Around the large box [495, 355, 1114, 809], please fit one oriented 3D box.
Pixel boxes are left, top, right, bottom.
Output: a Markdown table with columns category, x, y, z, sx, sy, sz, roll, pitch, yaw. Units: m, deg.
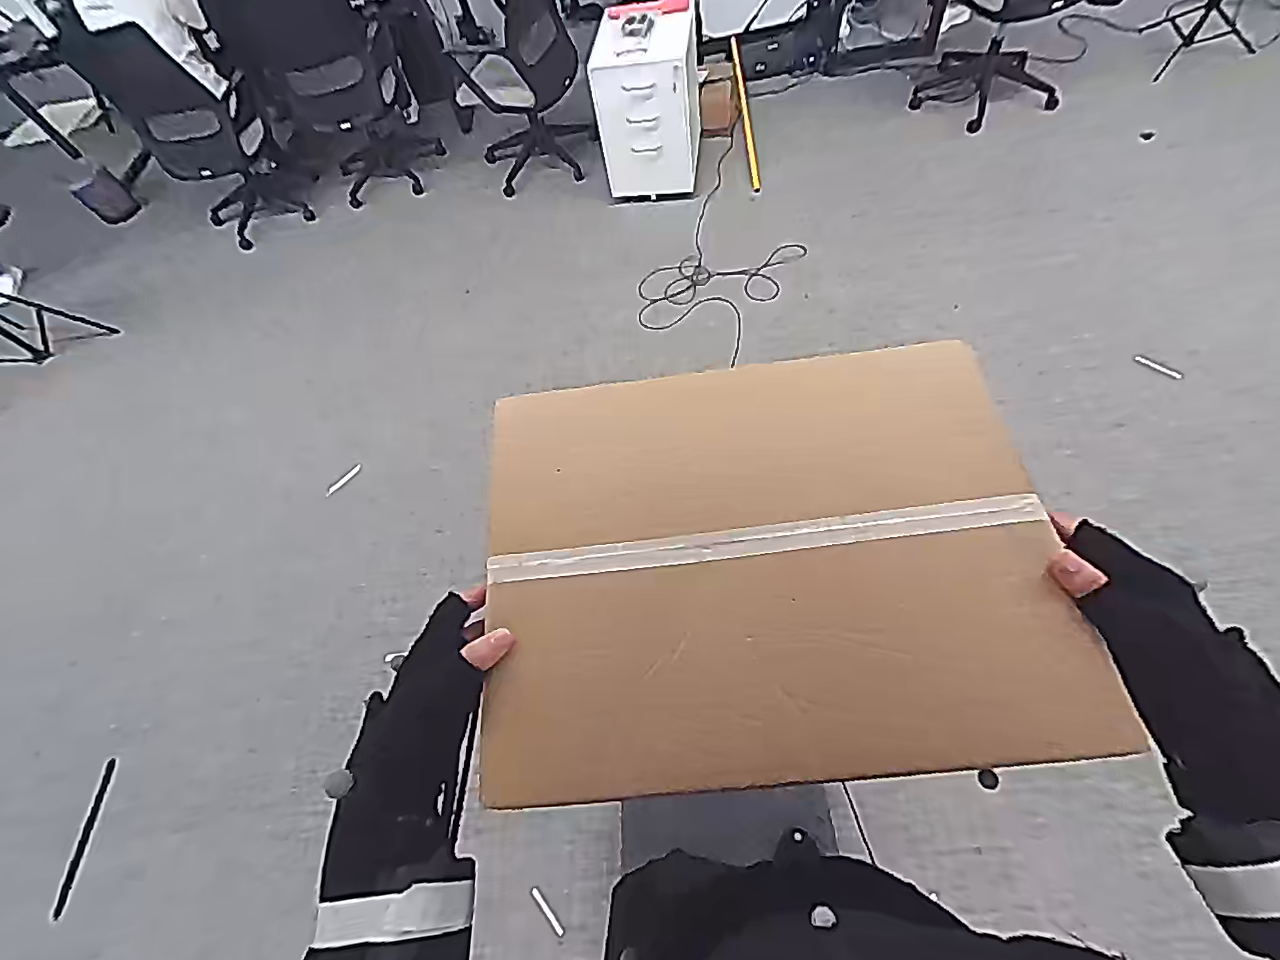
| category | x | y | z | sx | sy | sz | roll | pitch | yaw |
| --- | --- | --- | --- | --- | --- | --- | --- | --- | --- |
| large box | 0.103 | 0.115 | 0.541 | 0.408 | 0.320 | 0.320 | -6 | 63 | 3 |
